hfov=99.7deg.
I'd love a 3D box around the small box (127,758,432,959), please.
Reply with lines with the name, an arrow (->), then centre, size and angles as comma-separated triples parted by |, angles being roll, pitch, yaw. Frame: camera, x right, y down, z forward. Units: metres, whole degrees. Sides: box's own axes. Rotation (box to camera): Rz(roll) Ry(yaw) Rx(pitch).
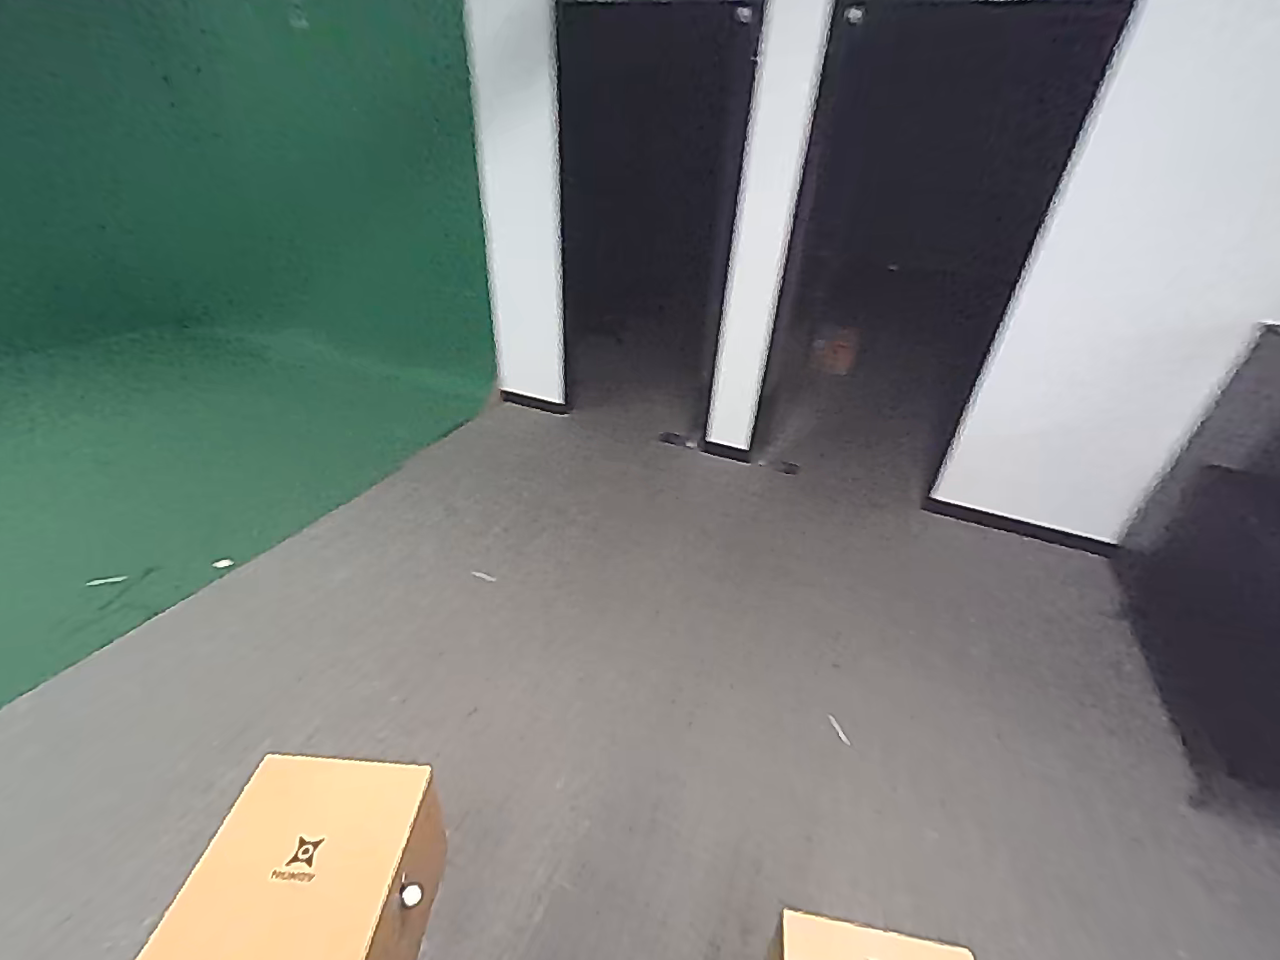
small box -> -0.305, 0.394, 0.504 | 0.168, 0.176, 0.179 | 5, 33, -2
